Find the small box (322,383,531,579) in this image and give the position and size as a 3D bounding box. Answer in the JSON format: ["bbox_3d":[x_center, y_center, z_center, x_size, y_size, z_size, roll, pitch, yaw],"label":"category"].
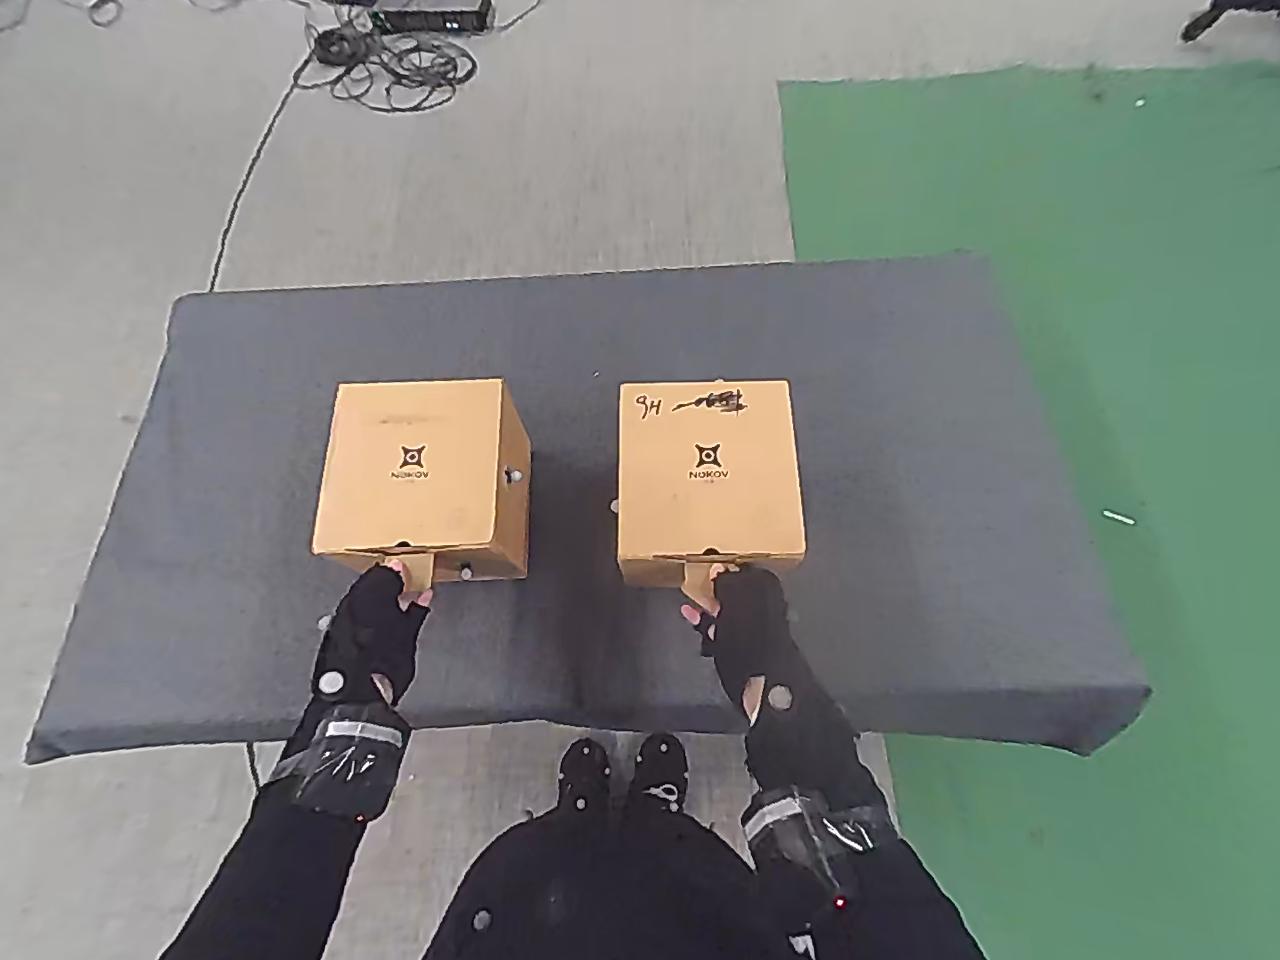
[{"bbox_3d":[-0.217,0.012,0.602,0.168,0.176,0.179,-2,68,-2],"label":"small box"}]
